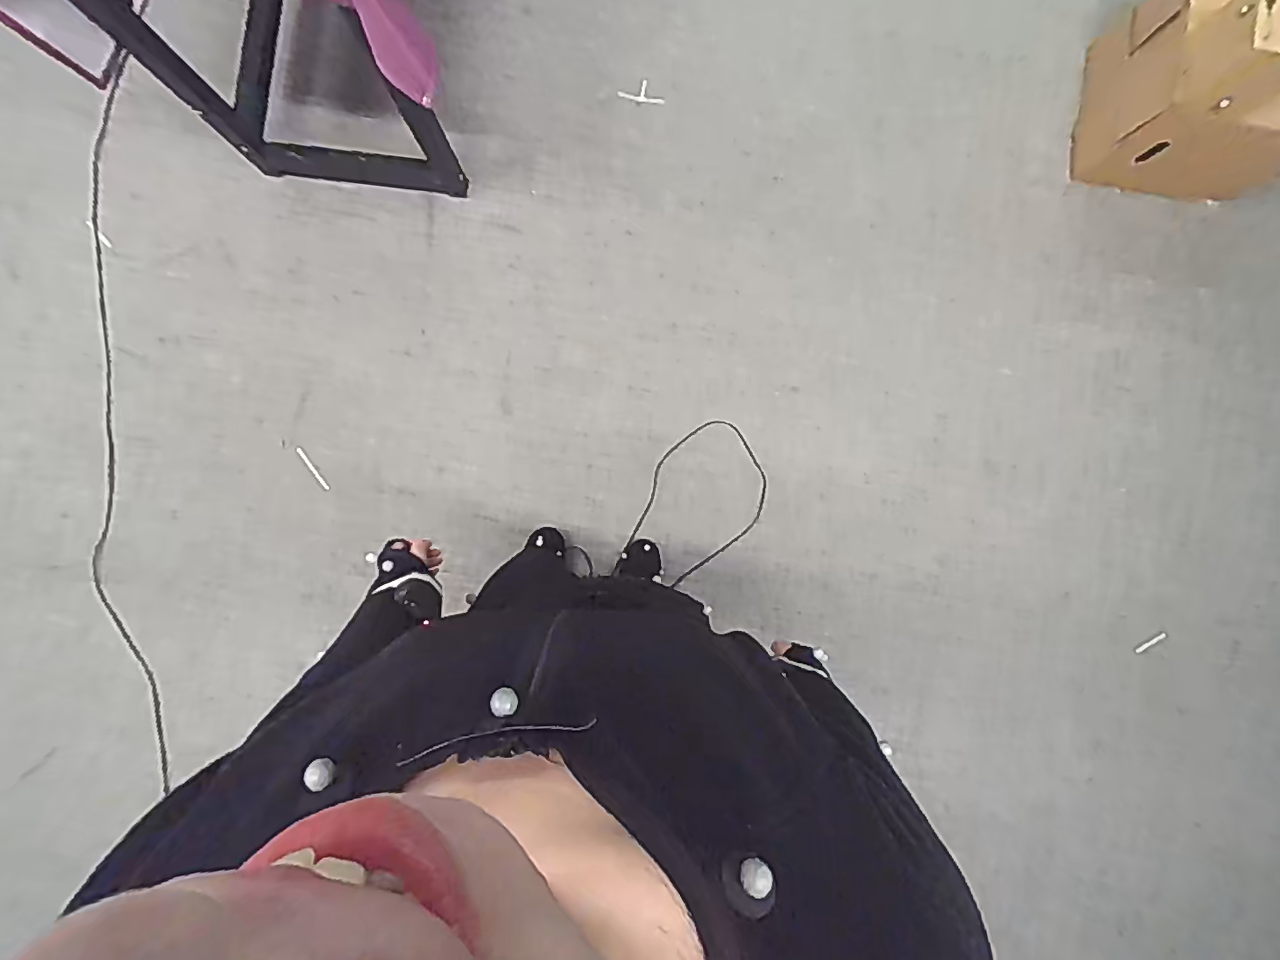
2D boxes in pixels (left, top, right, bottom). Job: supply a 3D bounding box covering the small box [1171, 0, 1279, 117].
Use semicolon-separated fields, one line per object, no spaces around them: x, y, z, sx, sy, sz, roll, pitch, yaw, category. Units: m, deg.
1.356;-0.949;1.200;0.179;0.176;0.168;11;88;-3;small box
